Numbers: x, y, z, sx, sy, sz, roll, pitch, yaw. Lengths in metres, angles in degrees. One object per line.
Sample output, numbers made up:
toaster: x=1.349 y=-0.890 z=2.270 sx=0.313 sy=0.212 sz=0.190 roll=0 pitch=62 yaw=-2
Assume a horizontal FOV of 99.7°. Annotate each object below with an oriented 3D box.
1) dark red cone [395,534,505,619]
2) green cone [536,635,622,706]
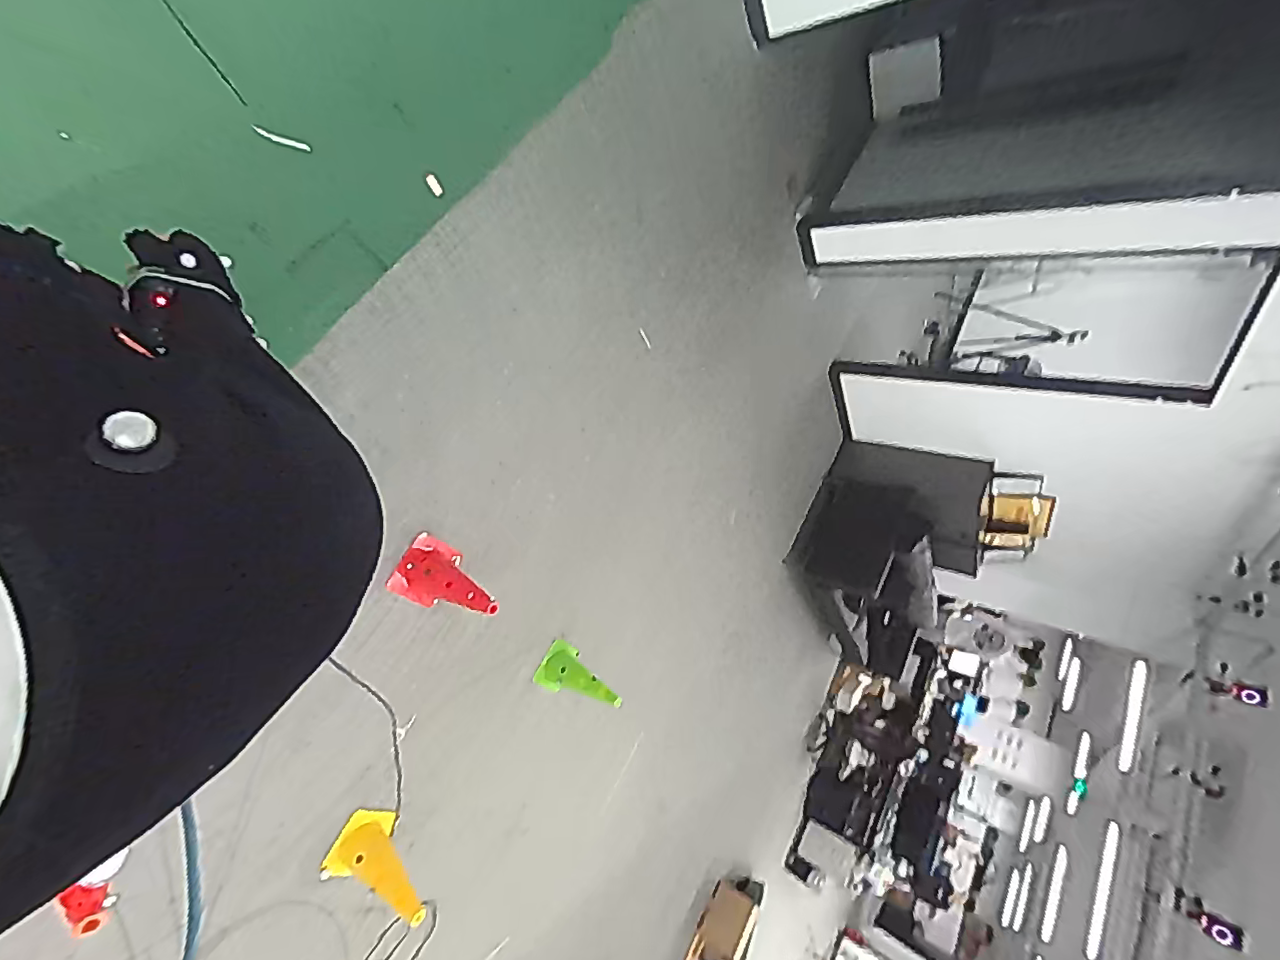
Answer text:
dark red cone: x=-0.531 y=0.323 z=1.614 sx=0.201 sy=0.394 sz=0.202 roll=46 pitch=66 yaw=-47
green cone: x=-0.218 y=0.820 z=2.224 sx=0.202 sy=0.368 sz=0.200 roll=-59 pitch=139 yaw=-18
